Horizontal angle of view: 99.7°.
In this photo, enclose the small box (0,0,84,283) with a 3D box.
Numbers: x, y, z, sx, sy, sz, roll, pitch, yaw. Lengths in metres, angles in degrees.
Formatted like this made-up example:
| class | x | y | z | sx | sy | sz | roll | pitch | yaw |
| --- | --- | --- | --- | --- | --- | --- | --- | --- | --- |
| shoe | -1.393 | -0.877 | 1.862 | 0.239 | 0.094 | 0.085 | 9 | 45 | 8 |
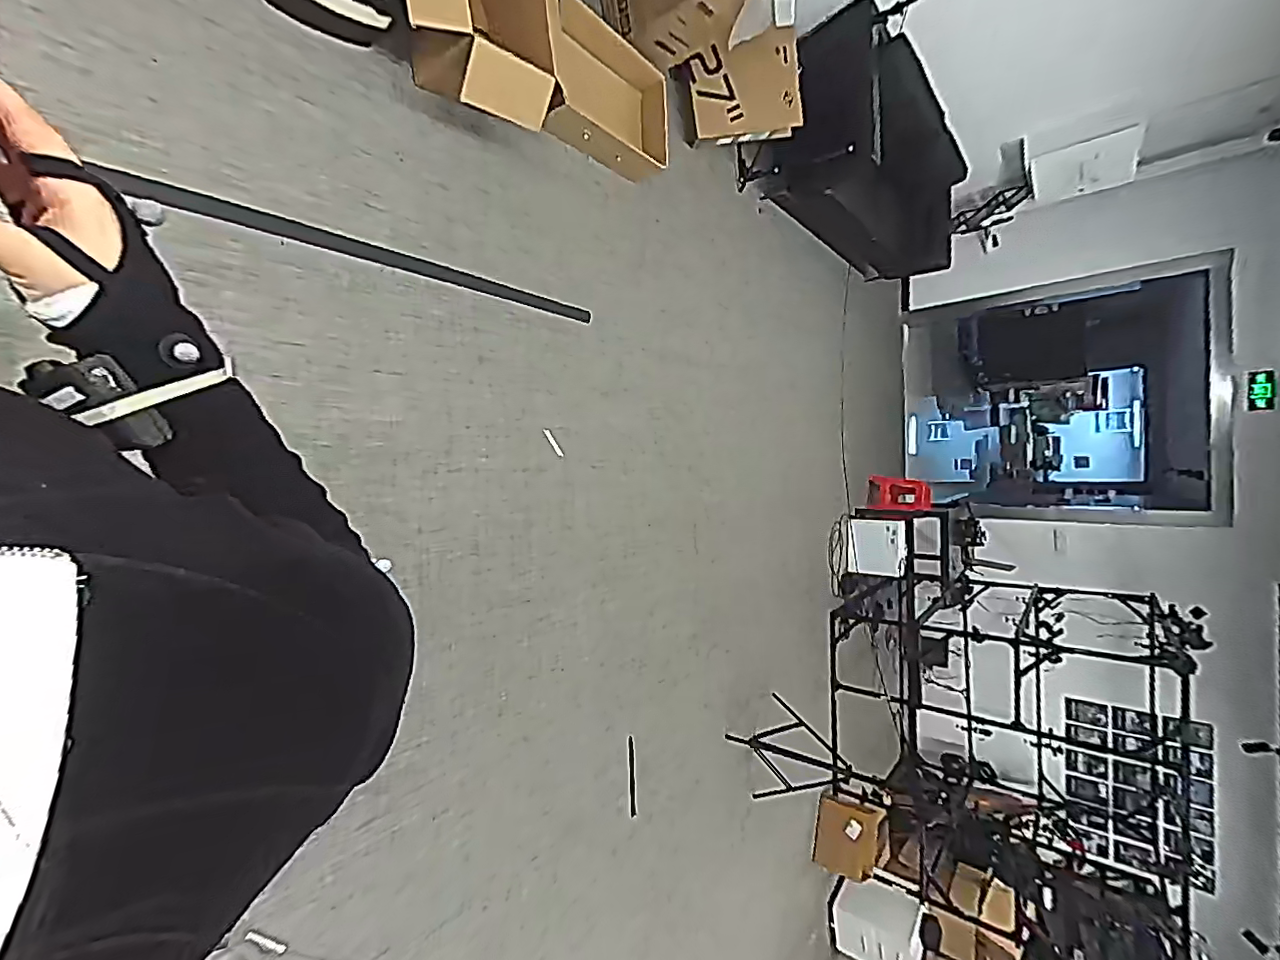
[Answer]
| class | x | y | z | sx | sy | sz | roll | pitch | yaw |
| --- | --- | --- | --- | --- | --- | --- | --- | --- | --- |
| small box | -0.345 | -0.183 | 0.191 | 0.168 | 0.176 | 0.179 | -16 | 104 | -51 |
